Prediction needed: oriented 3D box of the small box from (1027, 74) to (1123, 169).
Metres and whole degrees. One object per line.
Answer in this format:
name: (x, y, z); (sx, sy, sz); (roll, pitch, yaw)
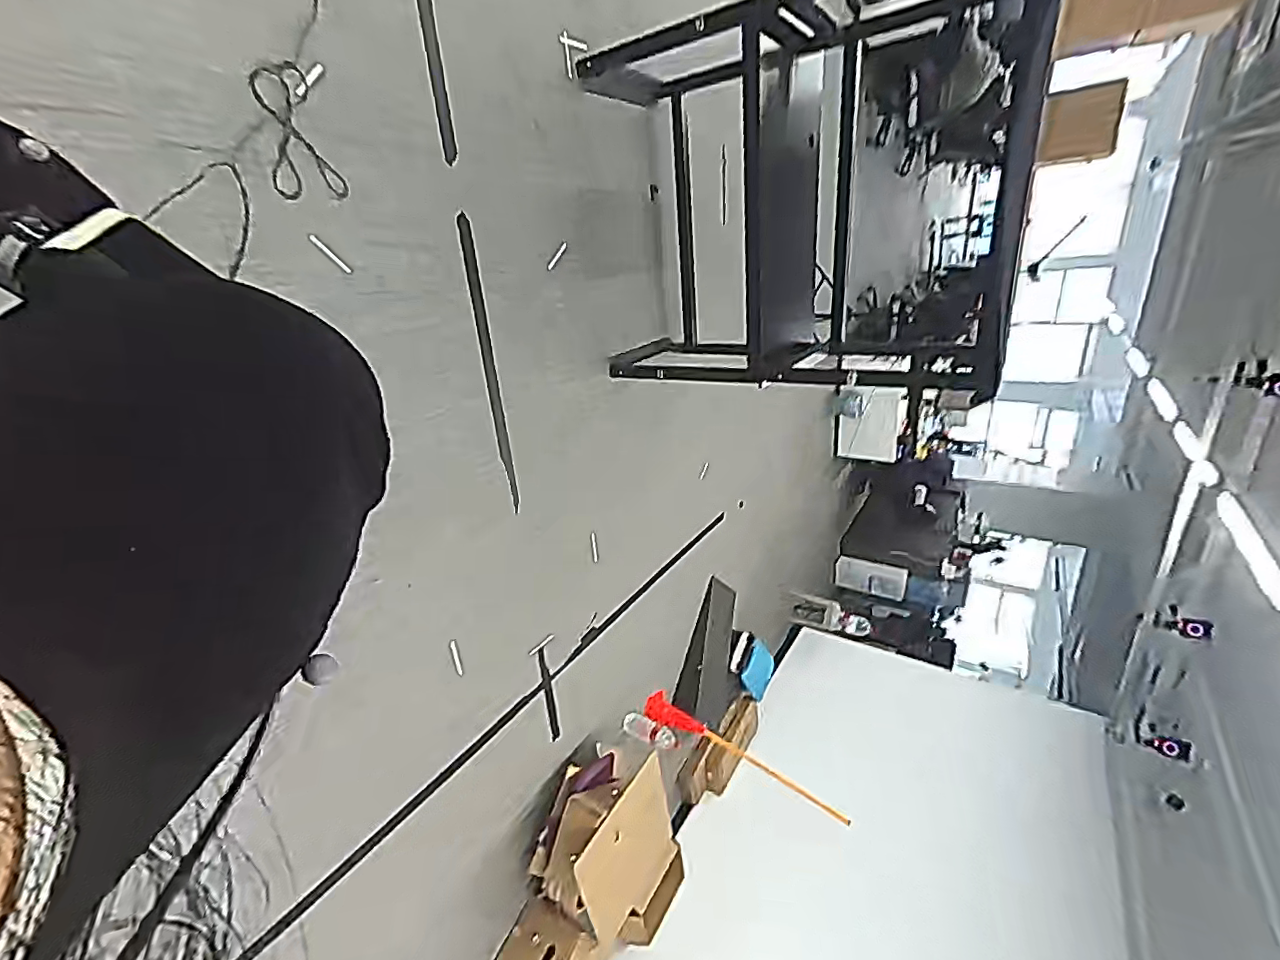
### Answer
small box: (1.134, -0.931, 1.423); (0.179, 0.176, 0.168); (-34, 125, -52)

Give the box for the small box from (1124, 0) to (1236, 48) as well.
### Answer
small box: (1.236, -1.119, 1.231); (0.179, 0.176, 0.168); (-33, 124, -50)

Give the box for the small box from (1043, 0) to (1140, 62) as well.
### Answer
small box: (1.098, -1.146, 1.312); (0.179, 0.176, 0.168); (-36, 128, -50)
